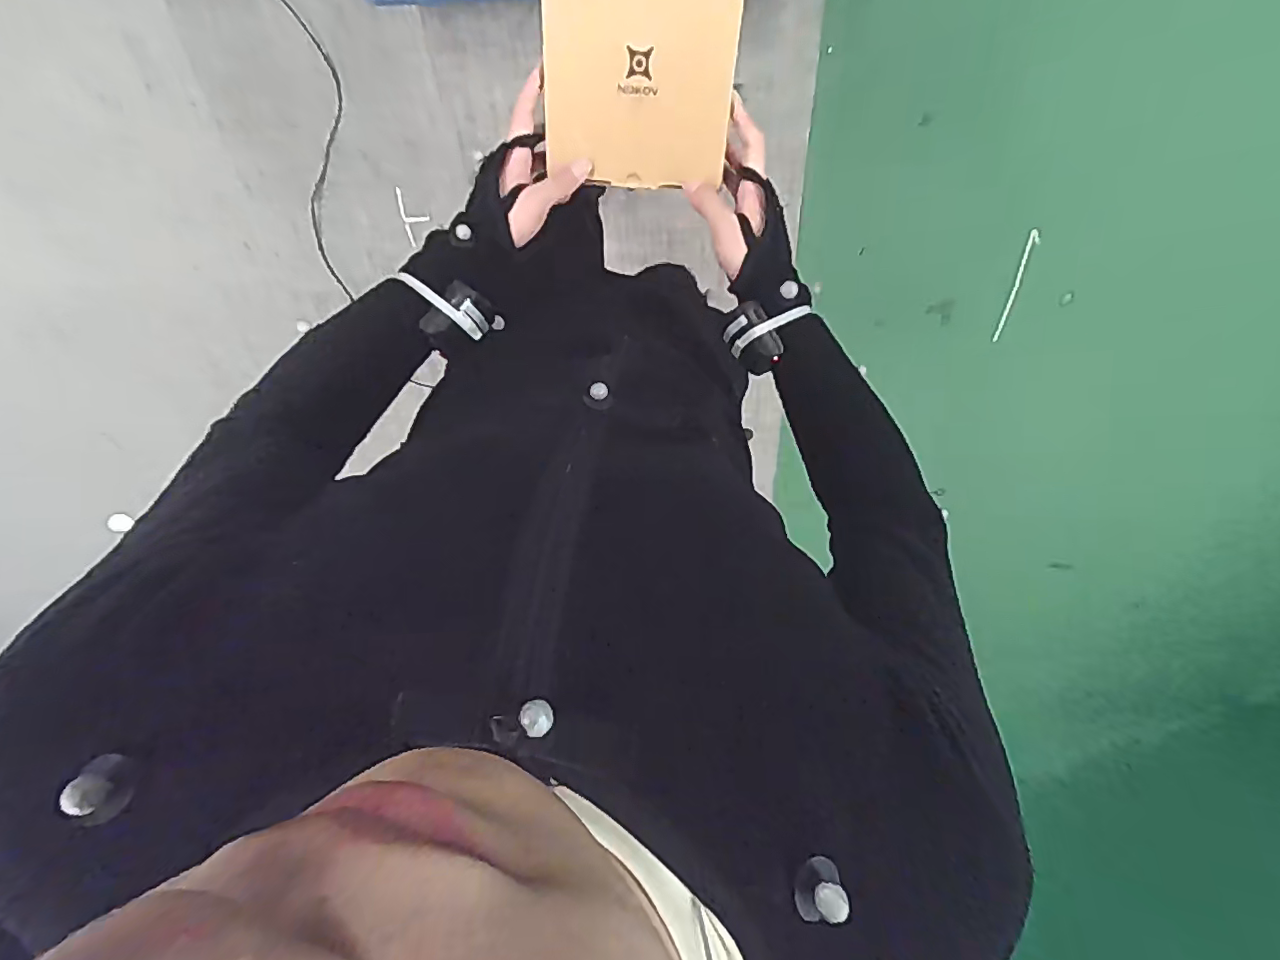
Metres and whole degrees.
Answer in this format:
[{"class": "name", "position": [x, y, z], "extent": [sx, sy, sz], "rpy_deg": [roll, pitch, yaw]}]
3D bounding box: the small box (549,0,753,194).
[{"class": "small box", "position": [0.009, -0.390, 0.523], "extent": [0.168, 0.176, 0.179], "rpy_deg": [6, 124, 2]}]
